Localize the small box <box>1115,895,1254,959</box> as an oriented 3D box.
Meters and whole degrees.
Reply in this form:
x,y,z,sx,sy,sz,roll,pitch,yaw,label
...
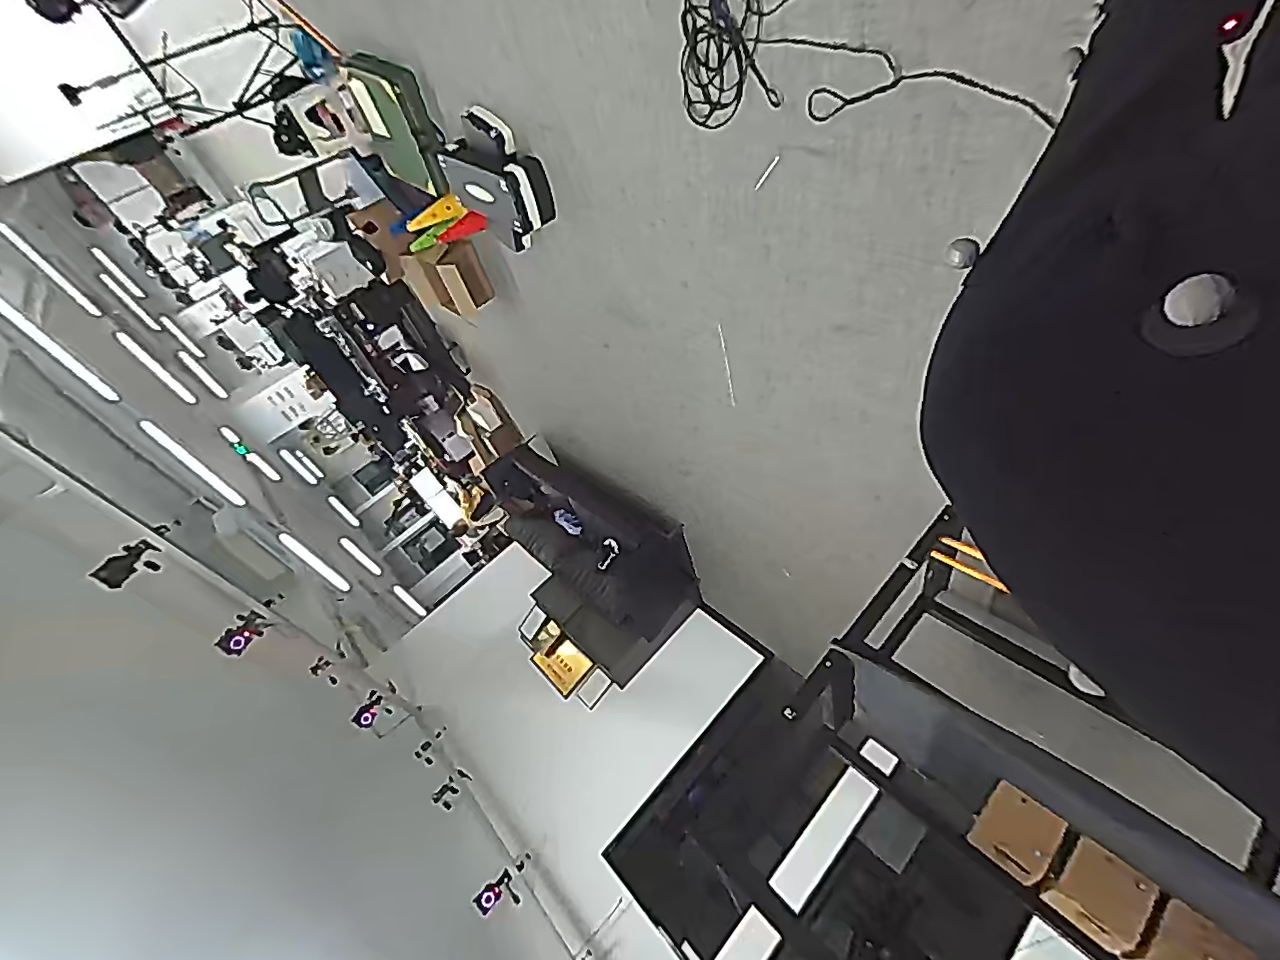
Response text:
x,y,z,sx,sy,sz,roll,pitch,yaw,label
1.304,1.138,1.296,0.168,0.176,0.179,34,156,37,small box
